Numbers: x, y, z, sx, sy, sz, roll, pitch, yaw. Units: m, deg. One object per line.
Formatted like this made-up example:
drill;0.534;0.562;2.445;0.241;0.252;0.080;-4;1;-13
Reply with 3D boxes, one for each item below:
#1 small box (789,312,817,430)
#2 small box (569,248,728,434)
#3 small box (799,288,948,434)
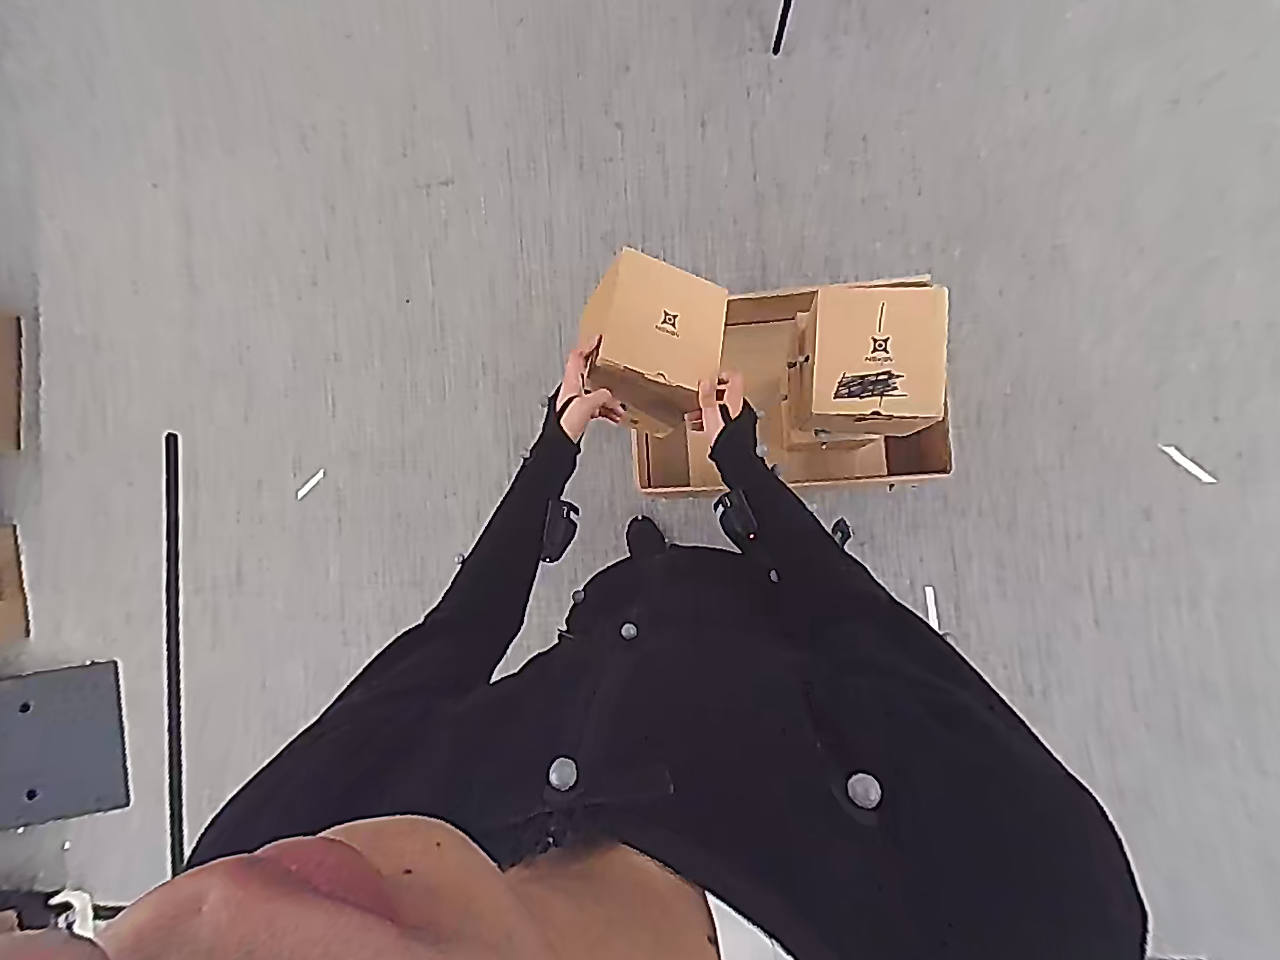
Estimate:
small box;0.356;-0.188;0.955;0.168;0.176;0.179;-2;87;11
small box;0.007;-0.187;0.781;0.168;0.176;0.179;15;72;-20
small box;0.329;-0.164;0.791;0.168;0.176;0.179;4;87;11
